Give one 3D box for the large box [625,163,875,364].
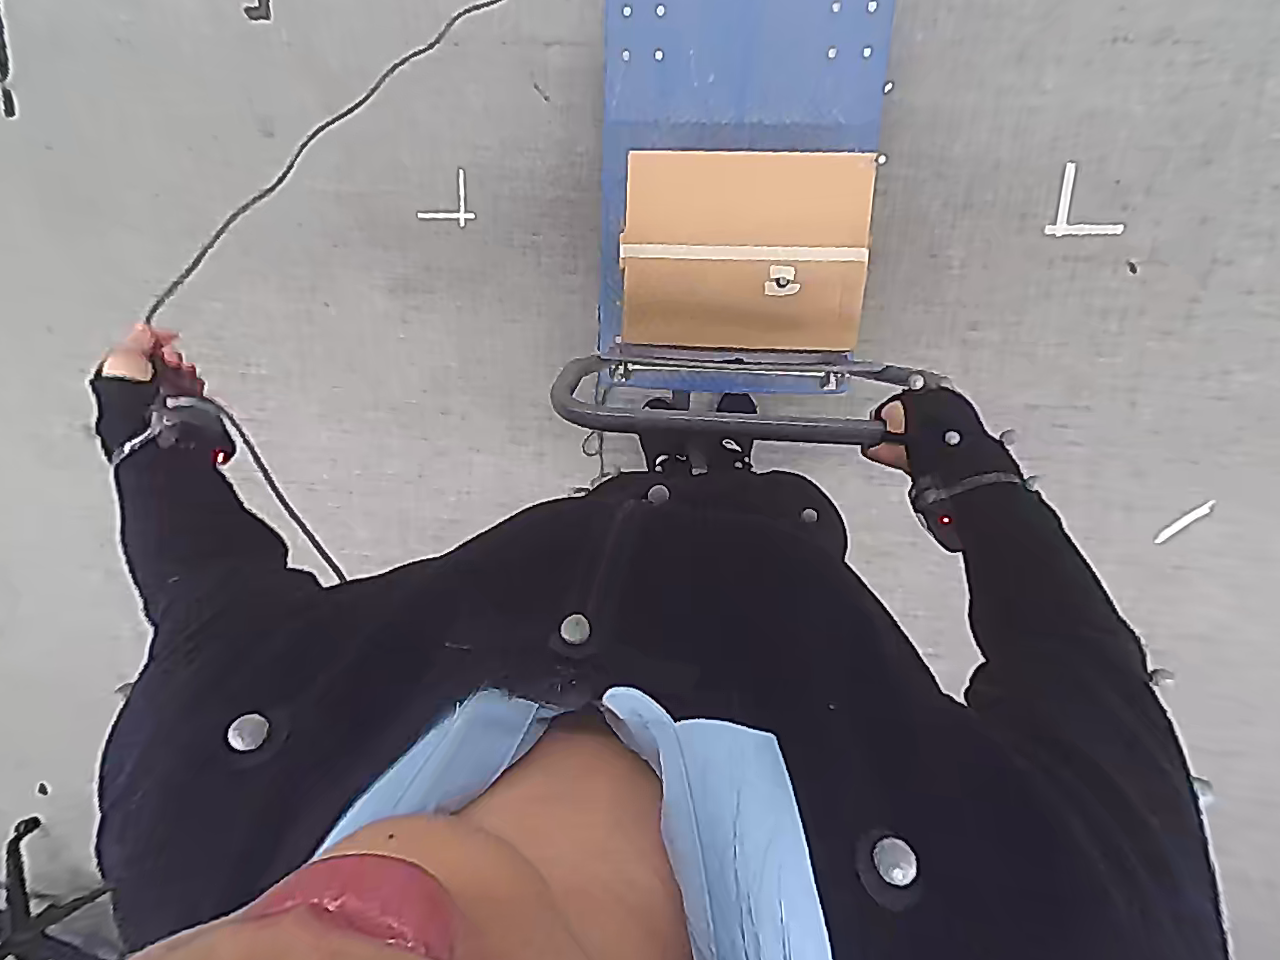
[{"bbox_3d":[0.183,-0.388,1.049,0.408,0.320,0.320,3,102,3],"label":"large box"}]
